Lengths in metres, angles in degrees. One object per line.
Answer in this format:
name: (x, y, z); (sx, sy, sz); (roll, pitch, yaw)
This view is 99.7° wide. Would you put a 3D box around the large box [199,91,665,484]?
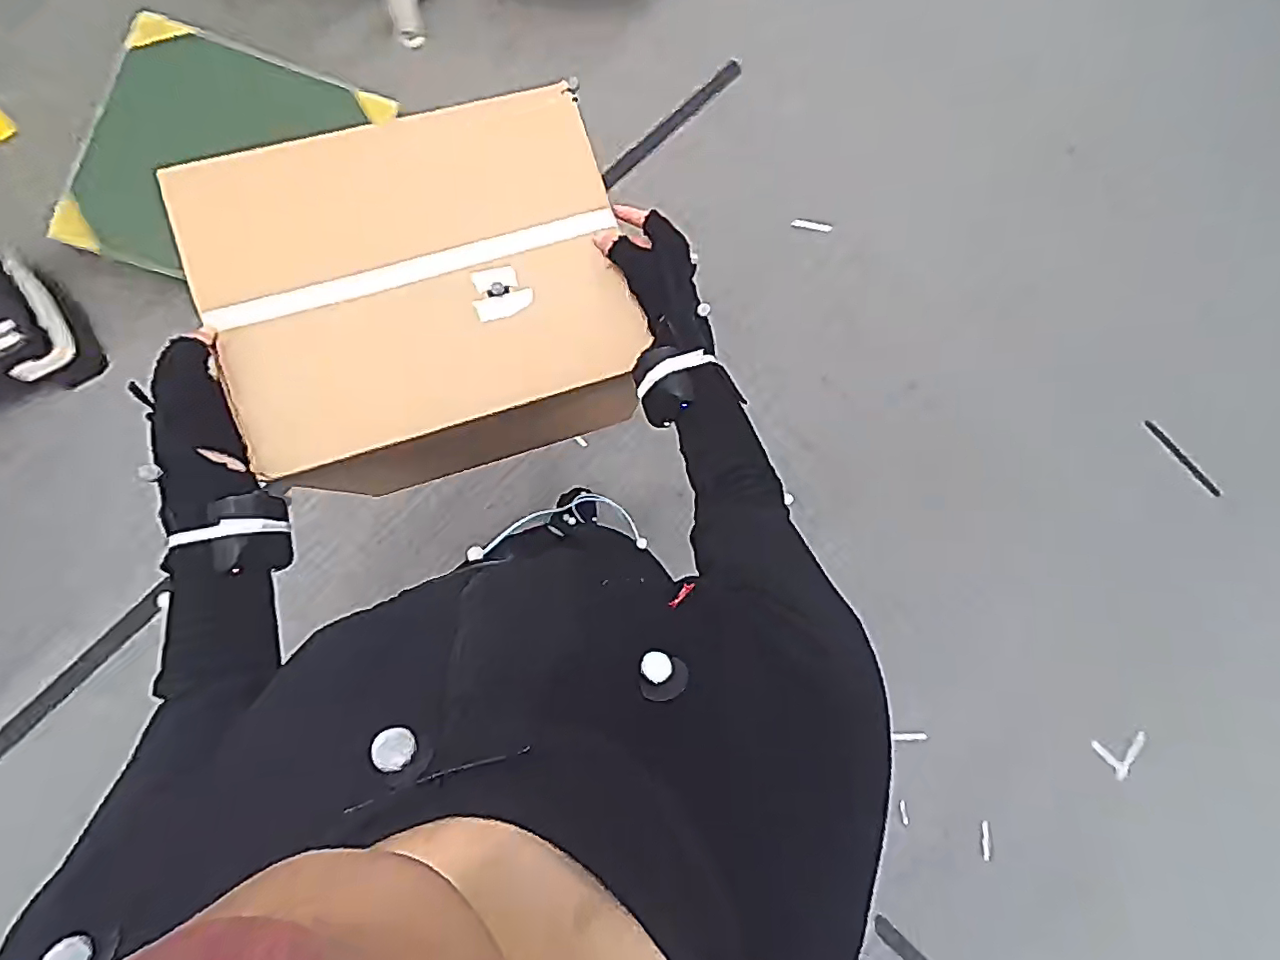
large box: (-0.223, -0.207, 0.700); (0.408, 0.320, 0.320); (-17, 89, -8)
